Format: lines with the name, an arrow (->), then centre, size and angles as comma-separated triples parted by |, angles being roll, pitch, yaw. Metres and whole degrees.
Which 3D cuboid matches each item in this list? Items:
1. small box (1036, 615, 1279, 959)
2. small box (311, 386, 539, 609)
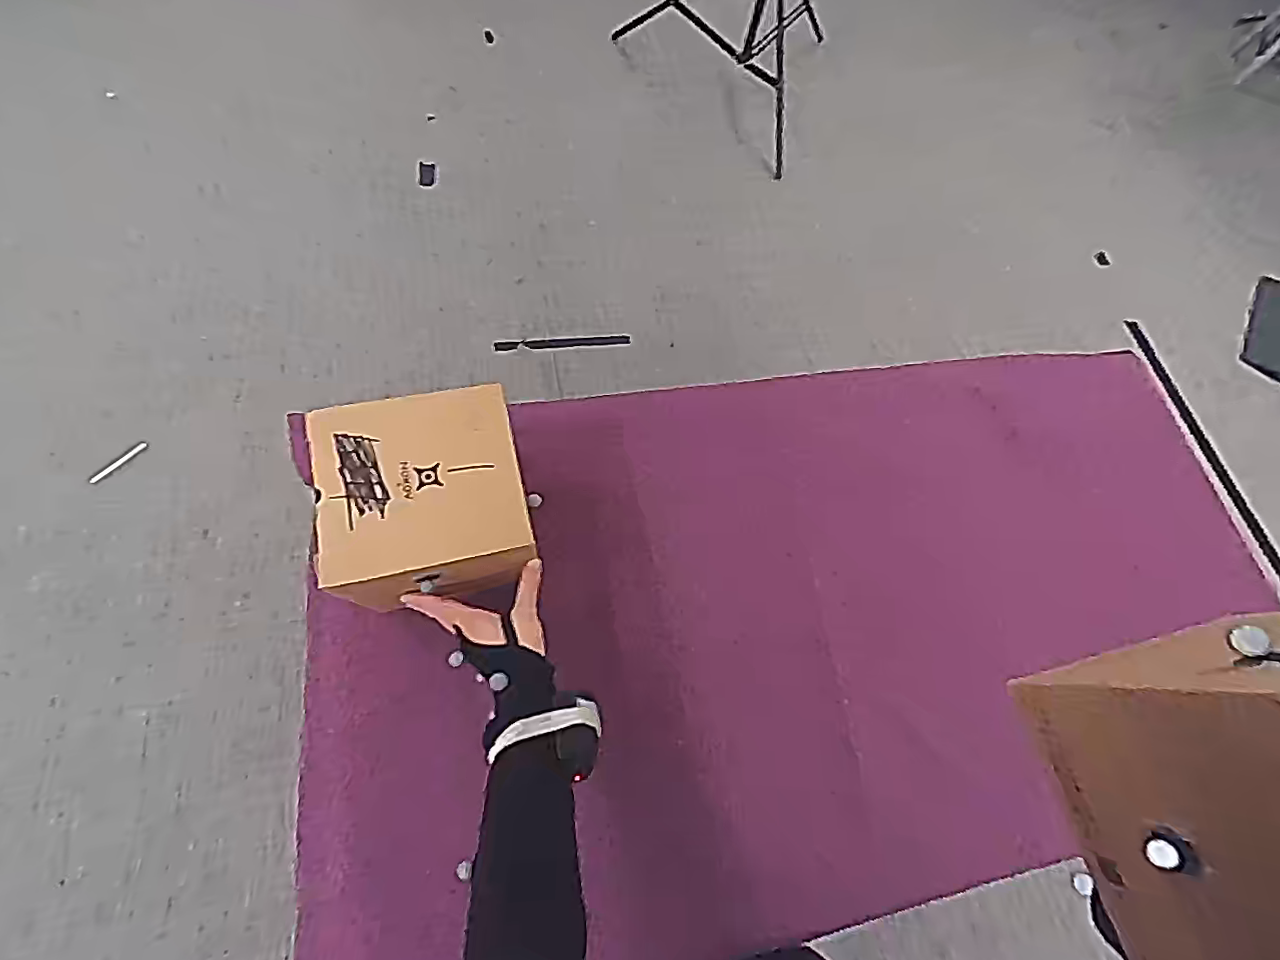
small box -> 0.348, 0.164, 0.269 | 0.179, 0.176, 0.168 | -14, 72, -6
small box -> -0.206, 0.027, 0.555 | 0.179, 0.176, 0.168 | -11, 73, -13
